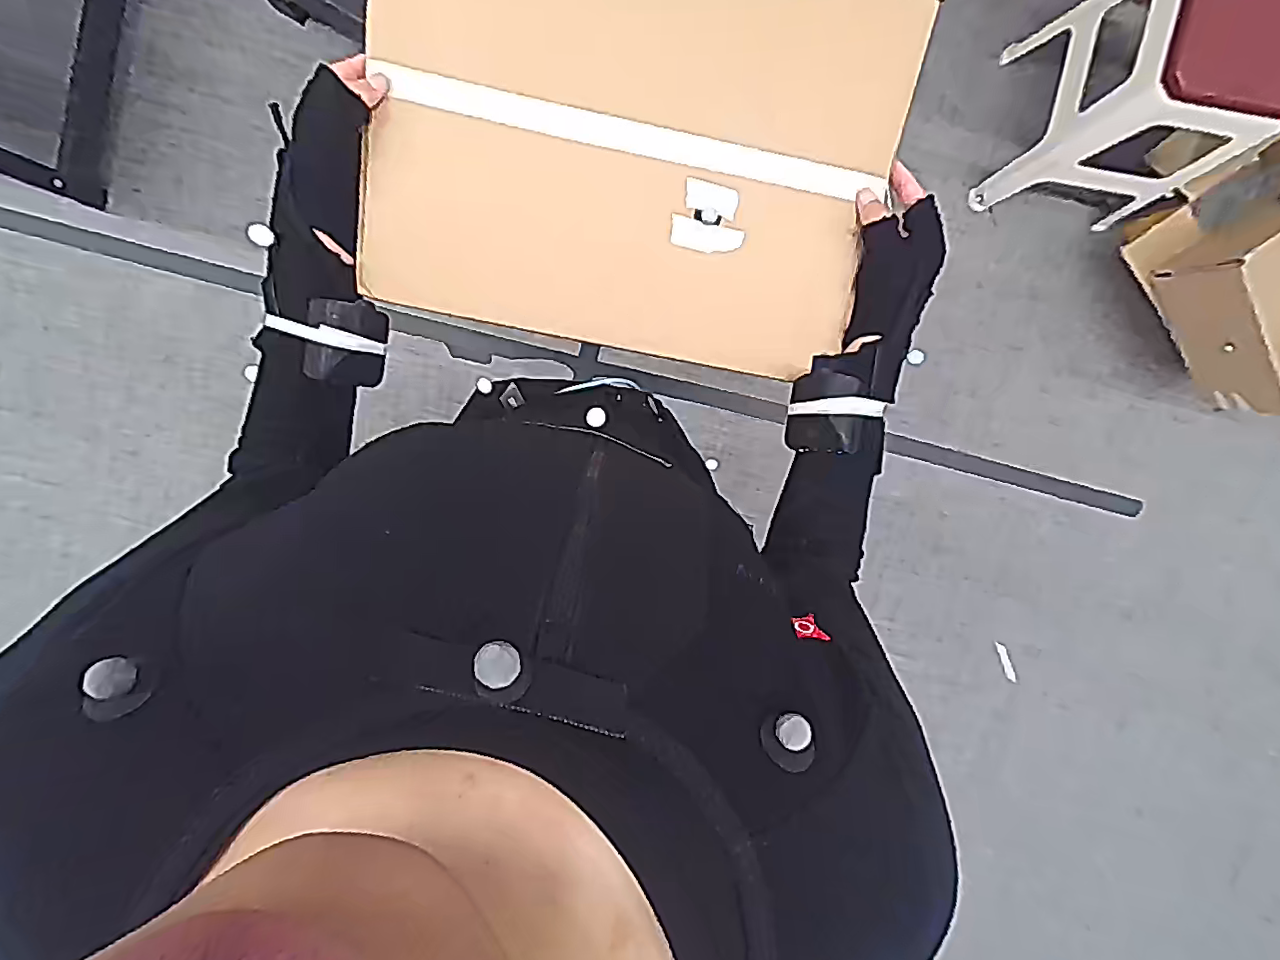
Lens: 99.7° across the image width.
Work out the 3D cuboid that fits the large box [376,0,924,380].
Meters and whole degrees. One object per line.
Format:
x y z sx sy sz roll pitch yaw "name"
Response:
-0.011 -0.303 0.575 0.408 0.320 0.320 10 105 -7 "large box"
